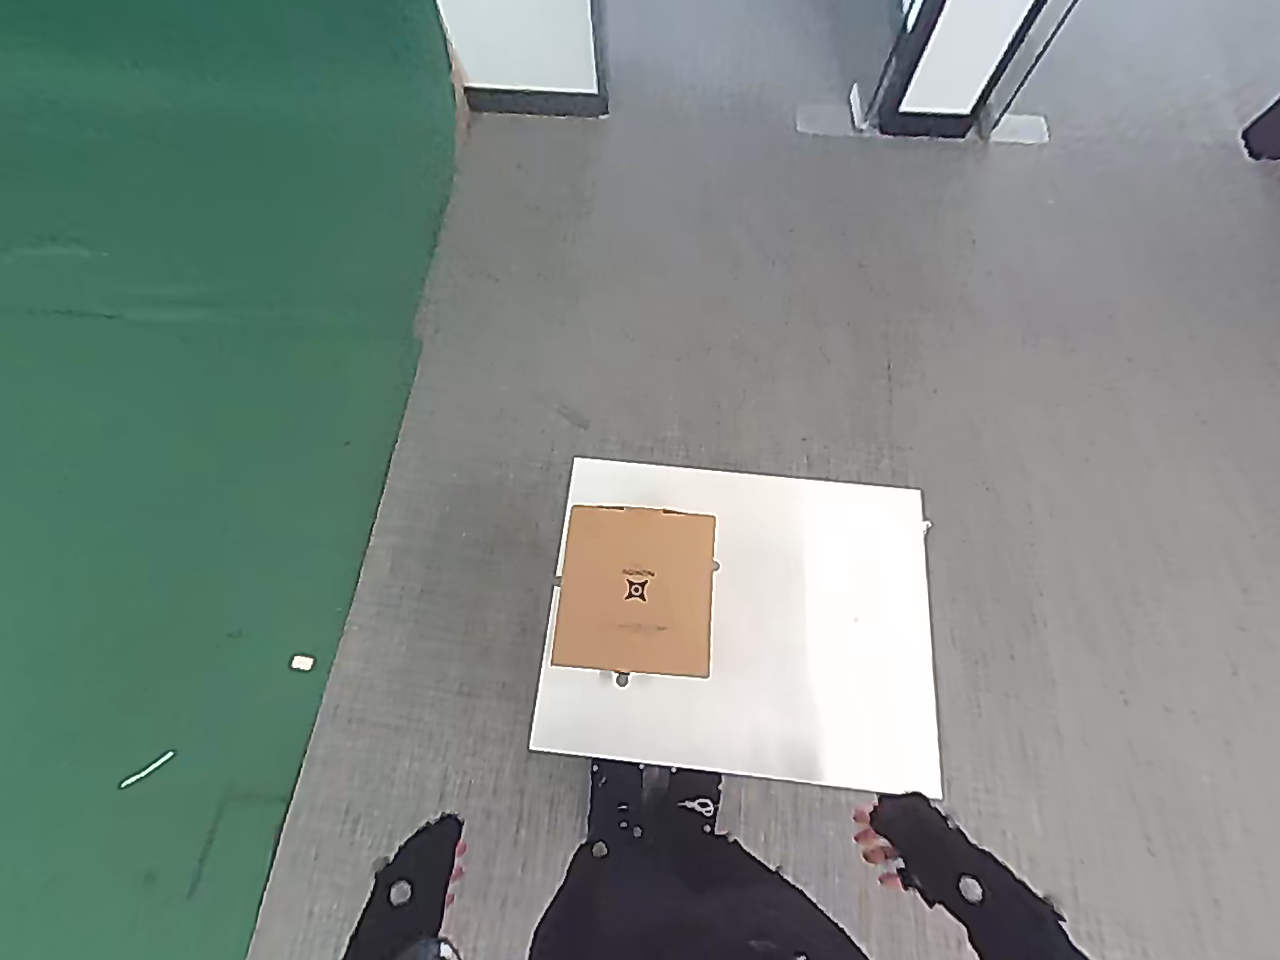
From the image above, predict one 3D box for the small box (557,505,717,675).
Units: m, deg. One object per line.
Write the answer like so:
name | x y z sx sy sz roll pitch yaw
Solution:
small box | 0.001 0.140 0.661 0.168 0.176 0.179 3 72 3
